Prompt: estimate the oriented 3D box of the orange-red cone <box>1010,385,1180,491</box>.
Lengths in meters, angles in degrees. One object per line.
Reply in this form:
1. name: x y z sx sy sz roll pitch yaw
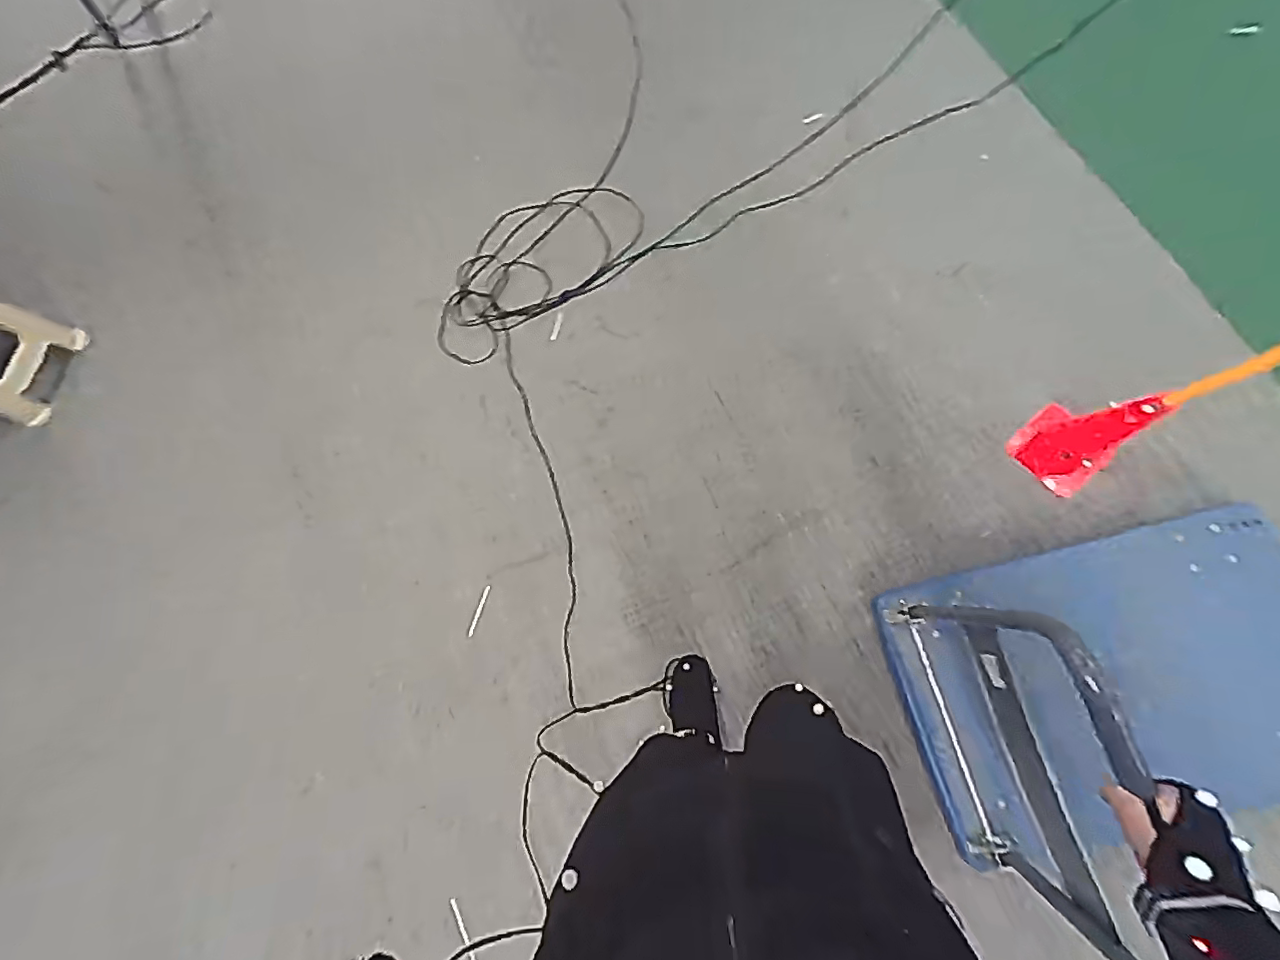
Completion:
1. orange-red cone: 1.101 -0.135 1.275 0.198 0.360 0.199 -40 75 -5
